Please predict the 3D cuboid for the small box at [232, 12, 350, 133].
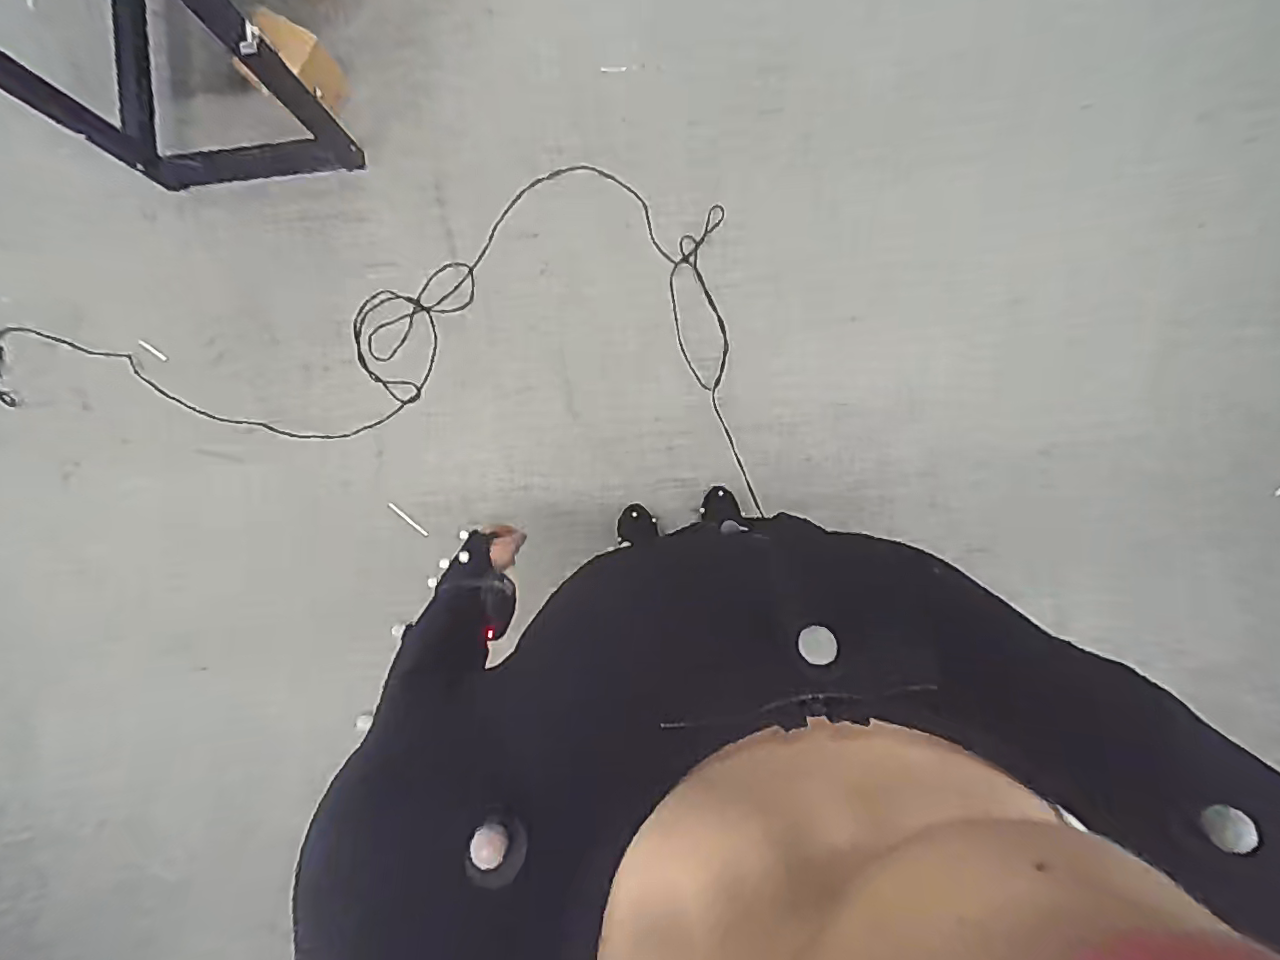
[{"bbox_3d":[-0.928,-1.083,1.456,0.179,0.176,0.168,28,90,2],"label":"small box"}]
